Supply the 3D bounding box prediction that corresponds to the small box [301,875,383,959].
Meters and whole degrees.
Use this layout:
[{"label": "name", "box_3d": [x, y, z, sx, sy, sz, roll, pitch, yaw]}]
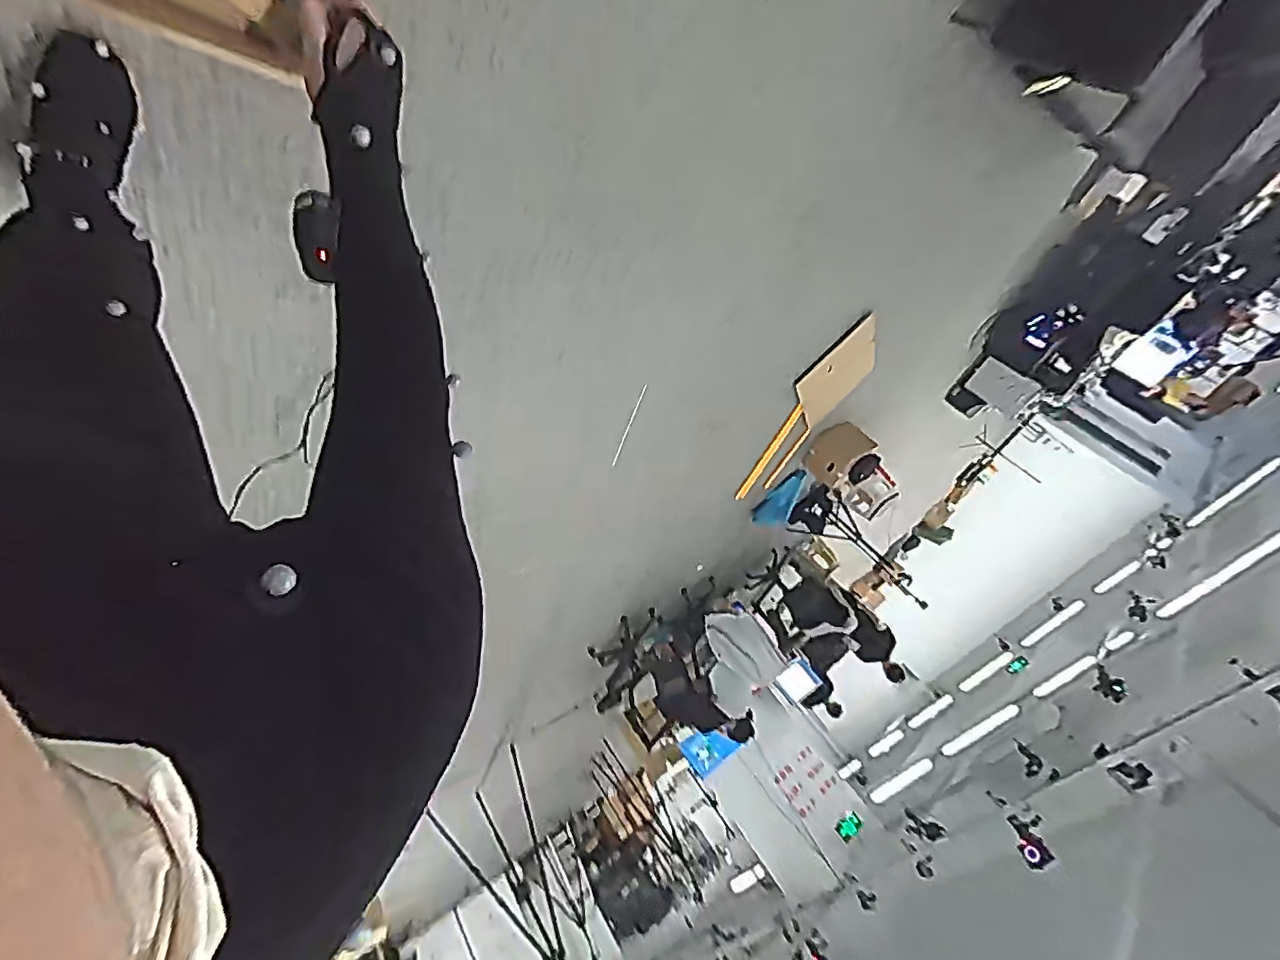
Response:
[{"label": "small box", "box_3d": [-0.844, 1.268, 1.528, 0.168, 0.176, 0.179, -14, 141, -40]}]
